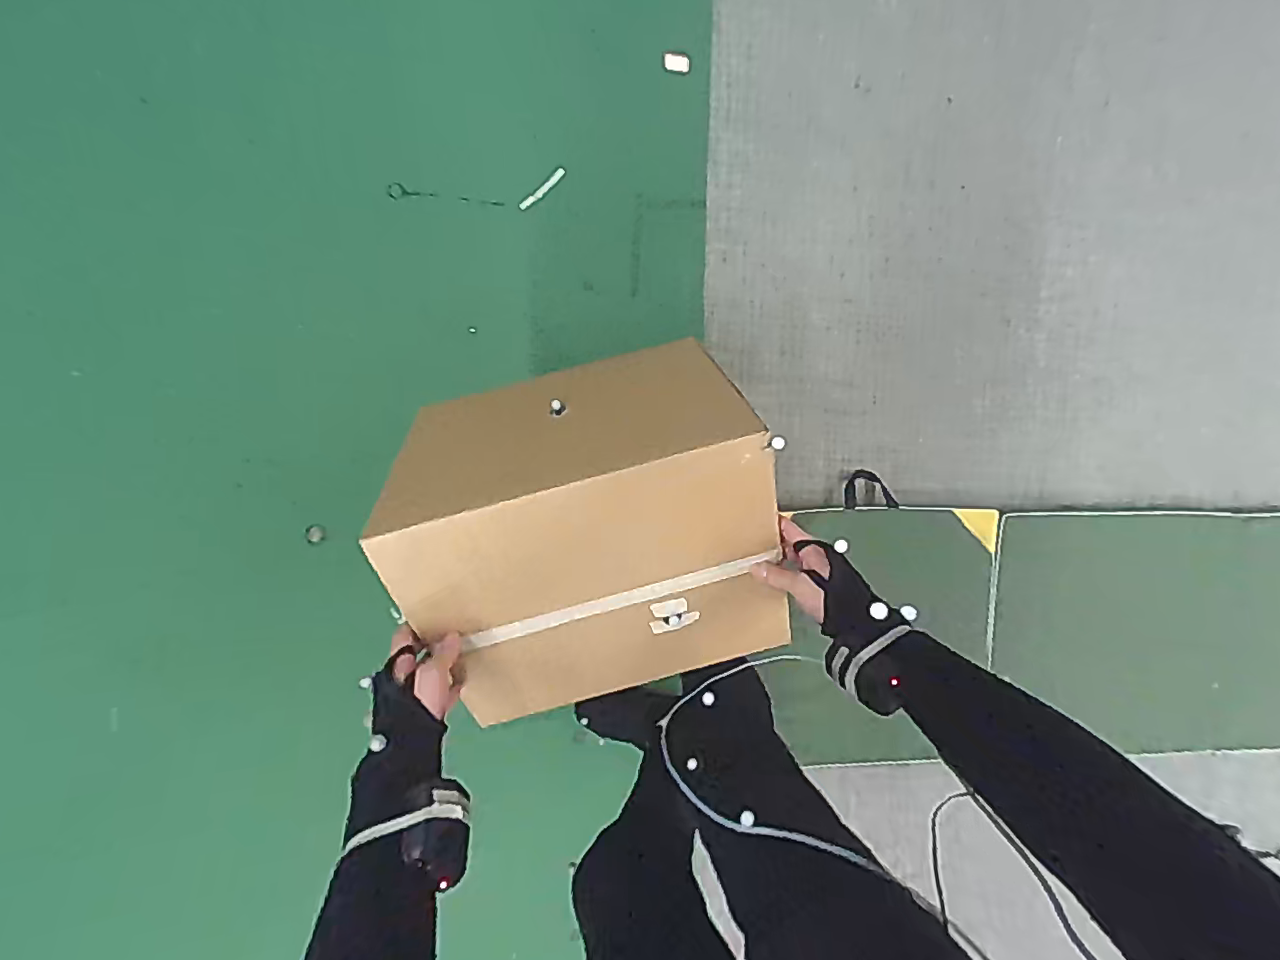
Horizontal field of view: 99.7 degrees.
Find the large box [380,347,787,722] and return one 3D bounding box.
[{"bbox_3d":[-0.060,0.055,0.736,0.408,0.320,0.320,-16,124,-2],"label":"large box"}]
